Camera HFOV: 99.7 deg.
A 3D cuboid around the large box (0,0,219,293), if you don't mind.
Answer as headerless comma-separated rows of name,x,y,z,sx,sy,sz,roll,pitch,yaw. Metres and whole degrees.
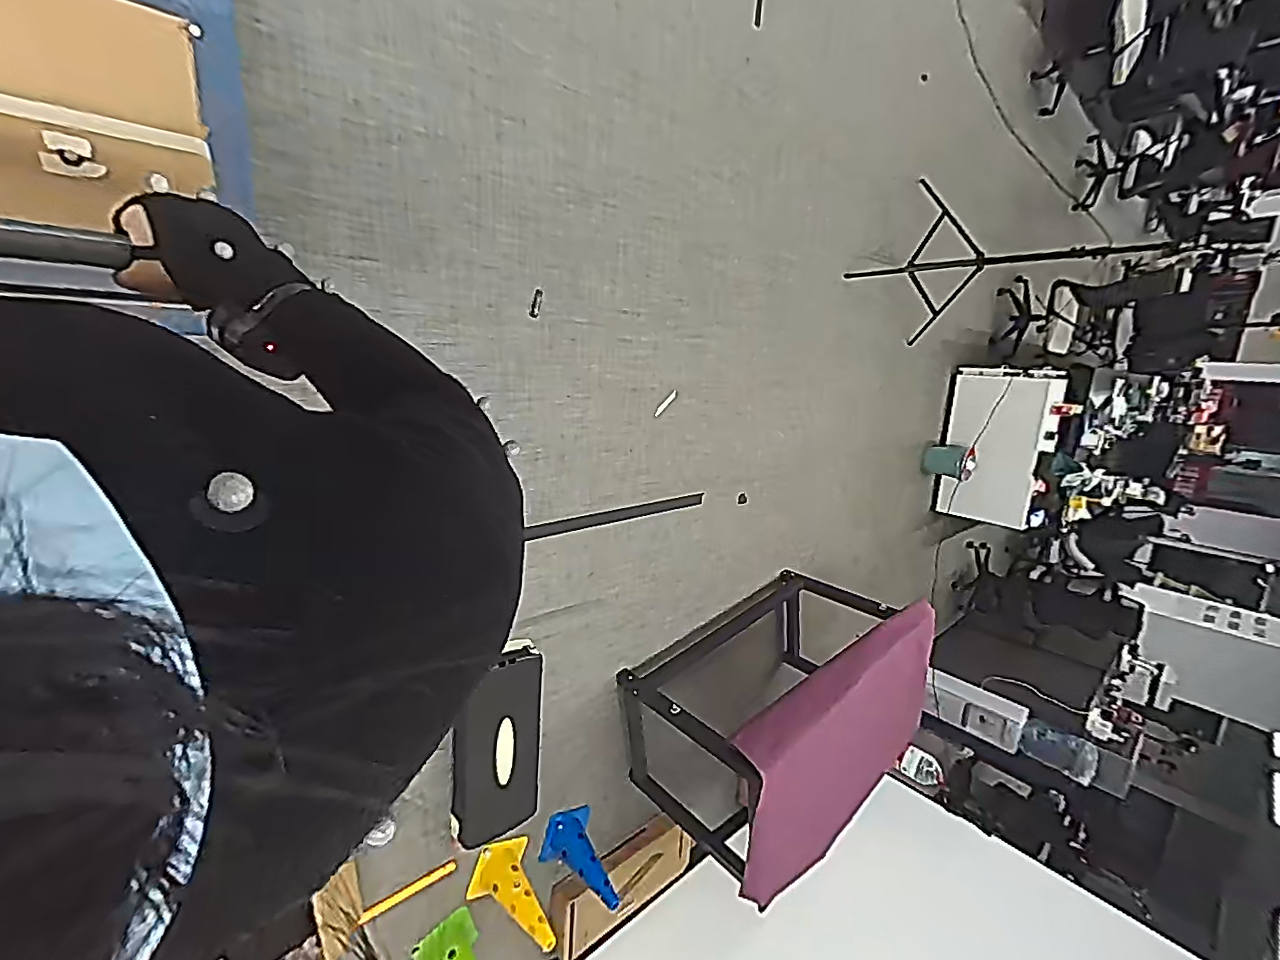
large box,-0.852,-0.443,0.726,0.408,0.320,0.320,-8,106,-41
